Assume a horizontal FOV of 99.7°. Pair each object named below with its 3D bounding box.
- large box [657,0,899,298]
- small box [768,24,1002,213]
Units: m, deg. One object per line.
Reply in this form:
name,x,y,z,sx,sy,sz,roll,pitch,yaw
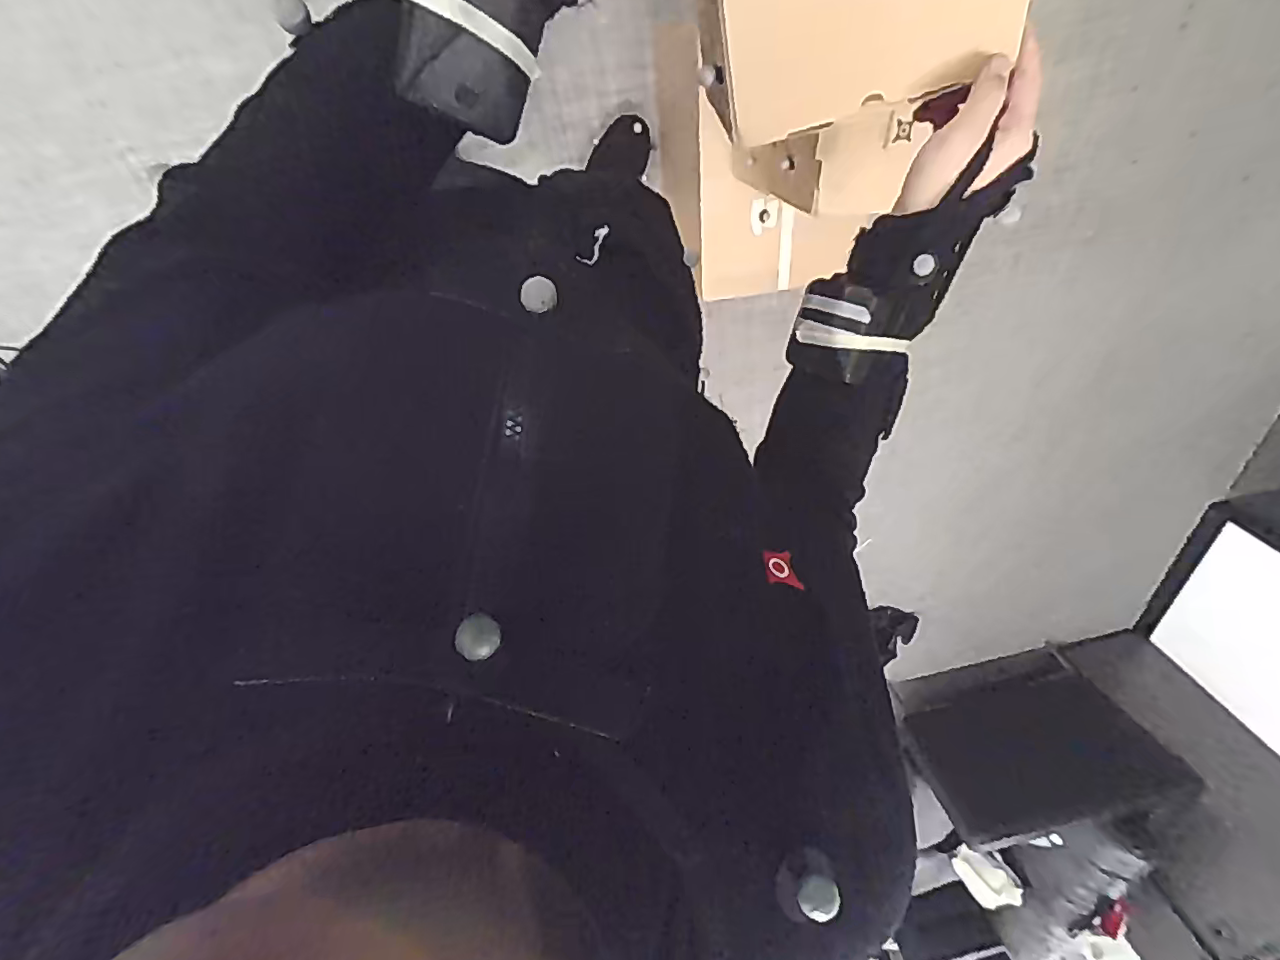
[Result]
large box,0.224,-0.612,1.012,0.320,0.320,0.408,-10,129,-4
small box,0.266,-0.429,0.641,0.179,0.176,0.168,-9,130,-7
